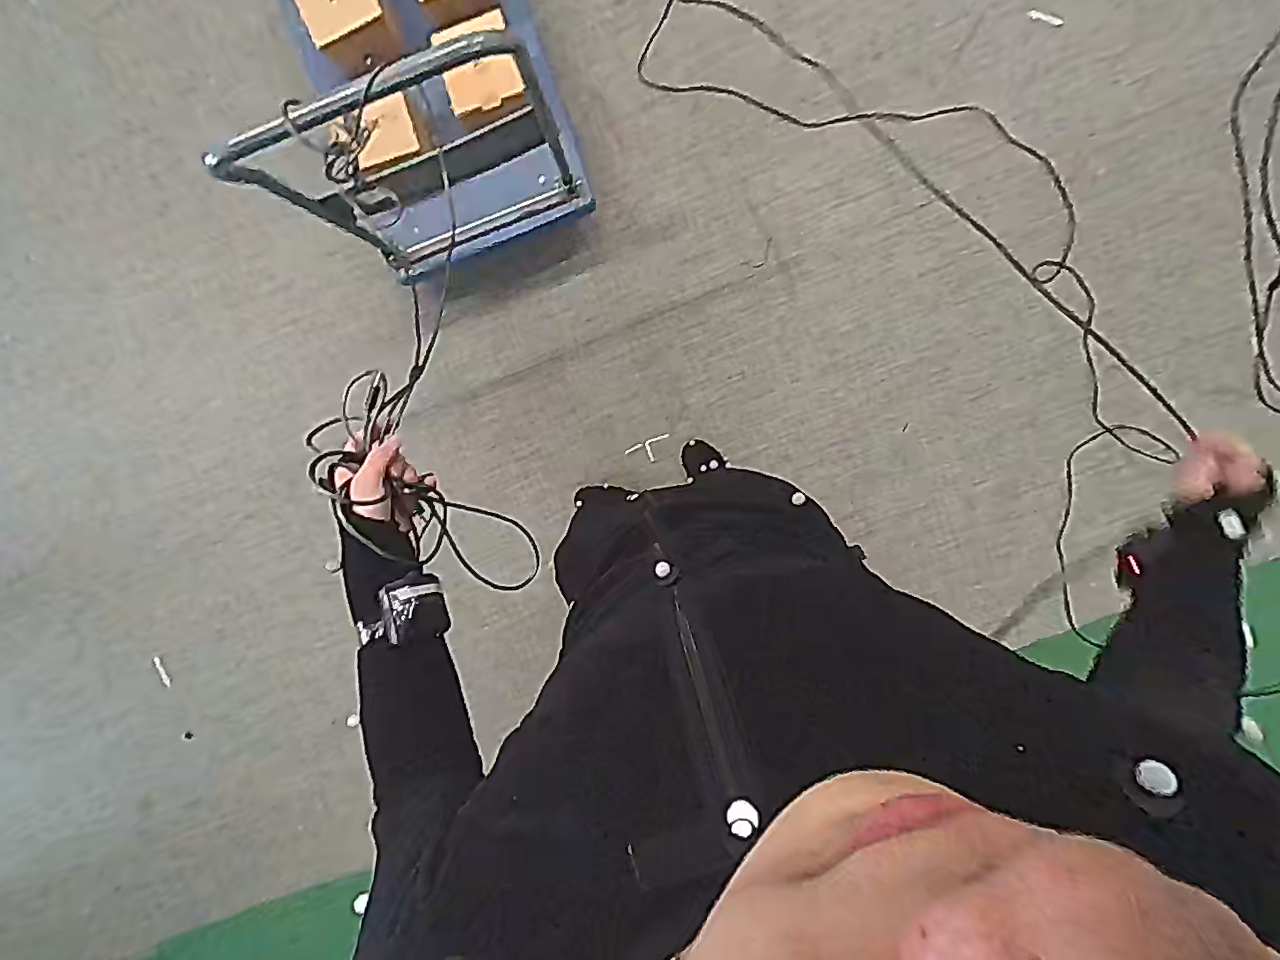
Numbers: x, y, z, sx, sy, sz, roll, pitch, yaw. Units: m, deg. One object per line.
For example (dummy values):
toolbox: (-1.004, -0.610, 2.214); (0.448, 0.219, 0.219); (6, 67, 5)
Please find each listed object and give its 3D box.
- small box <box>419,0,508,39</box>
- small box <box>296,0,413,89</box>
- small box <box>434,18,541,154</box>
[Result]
small box: (-0.428, -1.152, 1.248); (0.168, 0.176, 0.179); (-21, 96, 6)
small box: (-0.668, -1.068, 1.271); (0.168, 0.176, 0.179); (-23, 96, 5)
small box: (-0.351, -0.918, 1.275); (0.168, 0.176, 0.179); (-17, 97, 5)
